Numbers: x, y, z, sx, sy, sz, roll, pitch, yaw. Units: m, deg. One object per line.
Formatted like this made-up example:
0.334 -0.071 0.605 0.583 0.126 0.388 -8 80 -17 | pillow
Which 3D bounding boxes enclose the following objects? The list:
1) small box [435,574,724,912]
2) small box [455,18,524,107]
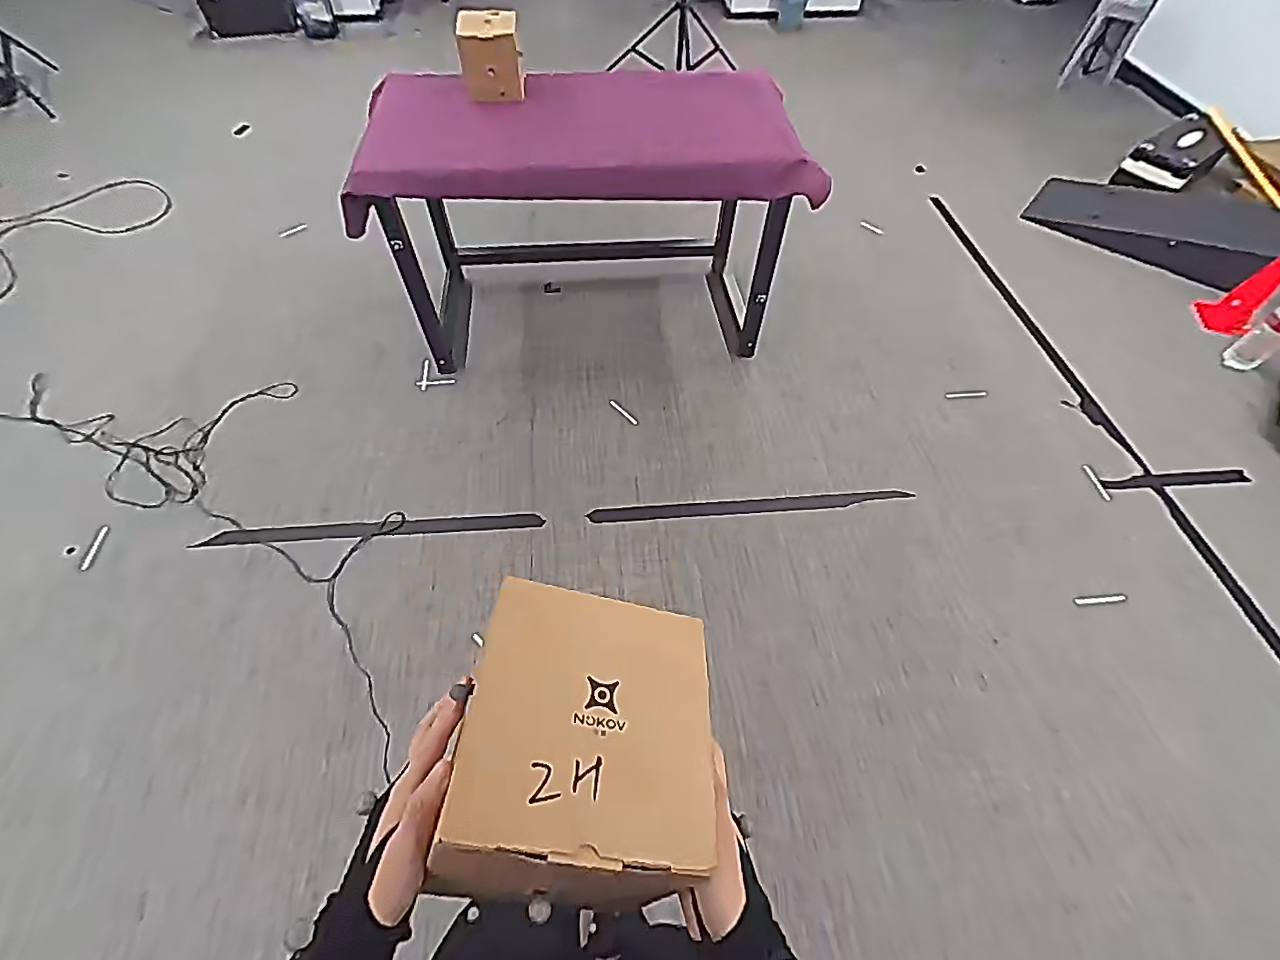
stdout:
-0.051 0.206 0.421 0.168 0.176 0.179 15 41 -12 | small box
-0.442 -1.241 1.613 0.168 0.176 0.179 -5 58 -5 | small box
